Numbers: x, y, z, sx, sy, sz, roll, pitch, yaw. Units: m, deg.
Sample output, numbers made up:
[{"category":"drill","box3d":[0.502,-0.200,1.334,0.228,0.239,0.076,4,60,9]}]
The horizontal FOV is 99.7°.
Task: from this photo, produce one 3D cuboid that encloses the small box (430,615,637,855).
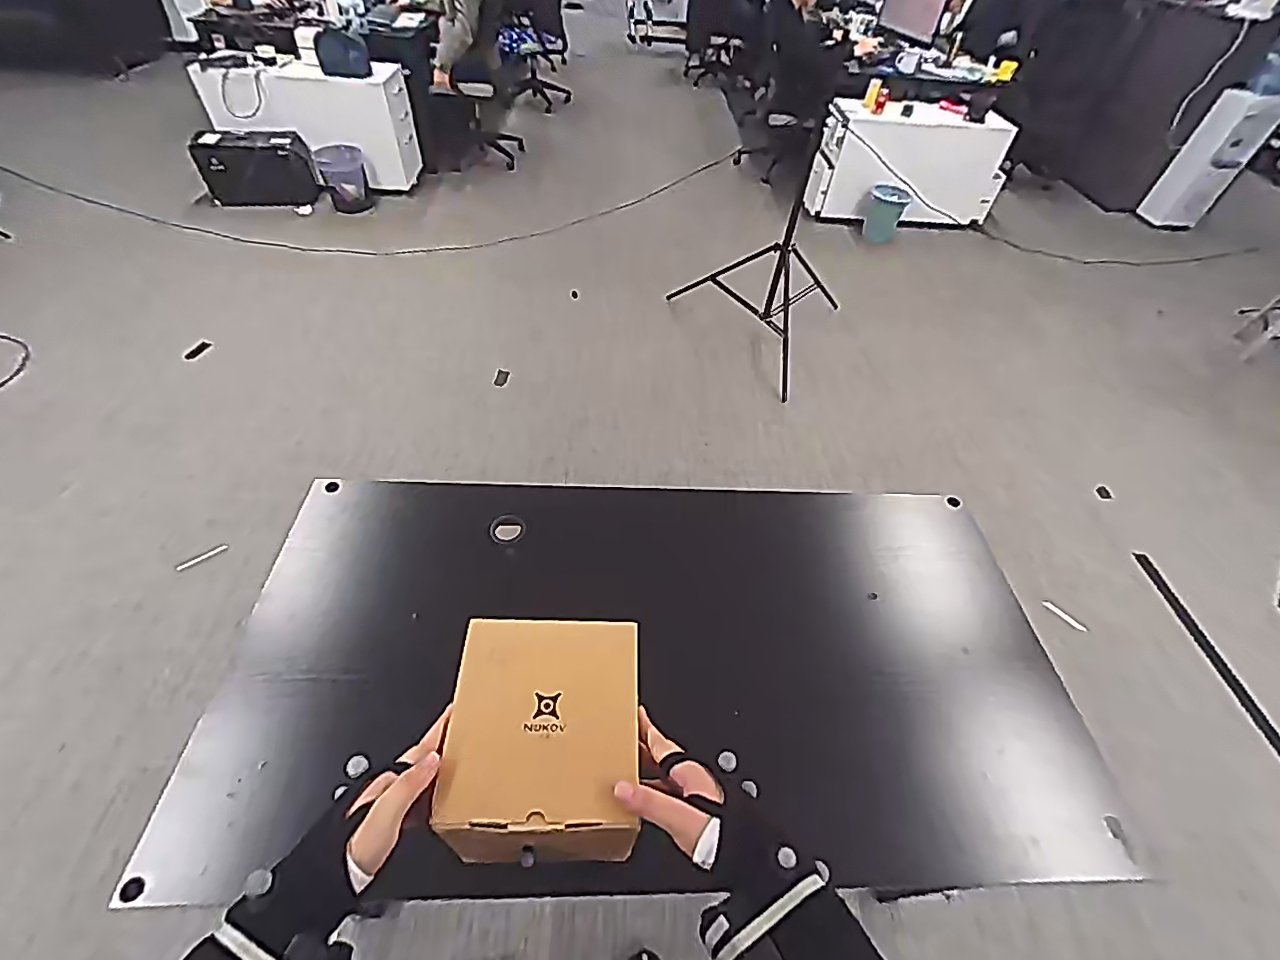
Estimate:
[{"category":"small box","box3d":[-0.091,0.255,0.538,0.168,0.176,0.179,2,48,-4]}]
